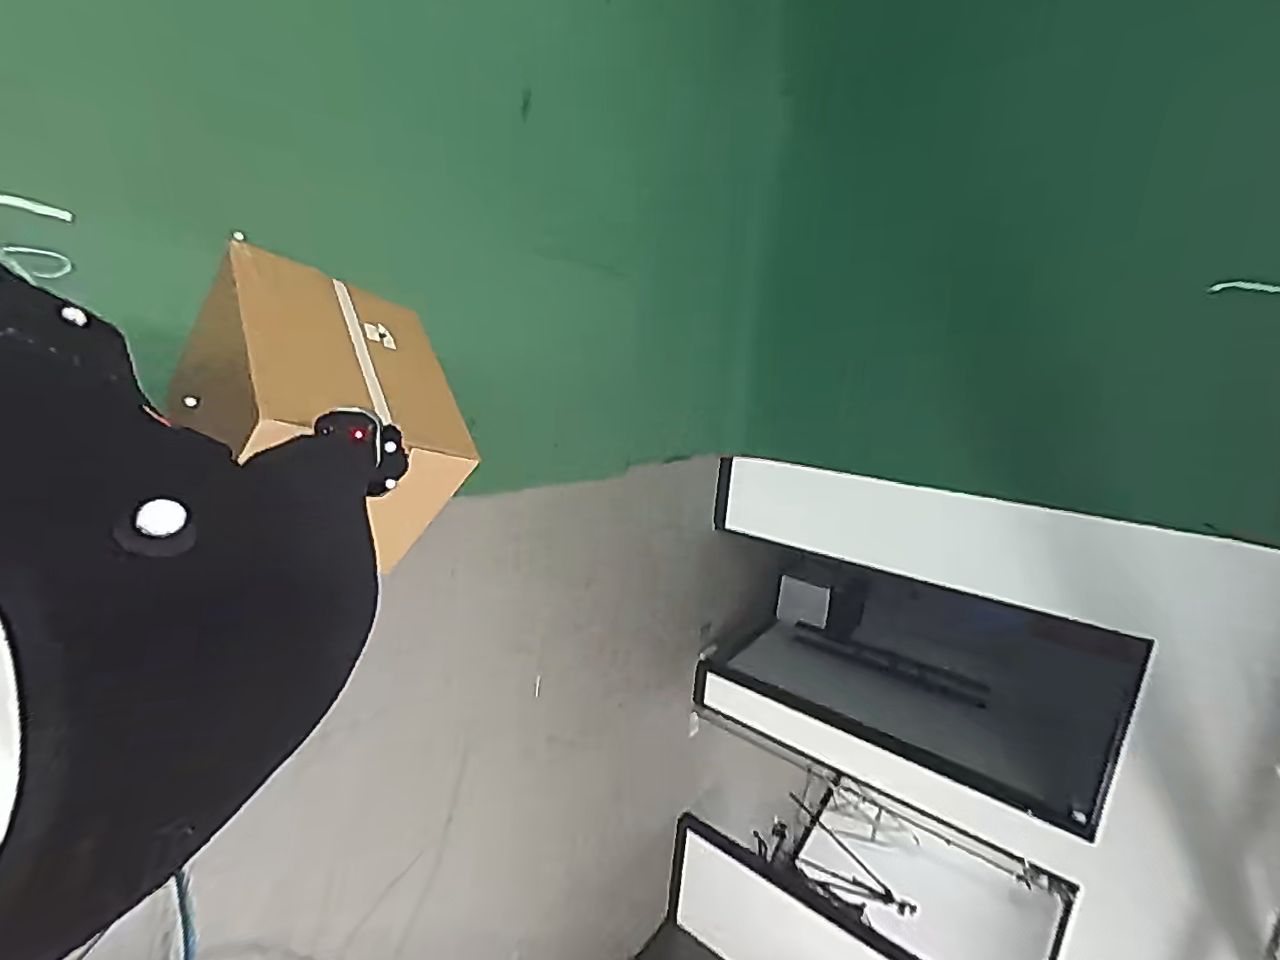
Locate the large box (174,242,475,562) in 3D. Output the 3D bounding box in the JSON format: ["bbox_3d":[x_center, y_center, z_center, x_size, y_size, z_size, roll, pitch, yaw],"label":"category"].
[{"bbox_3d":[-0.548,-0.108,0.922,0.320,0.408,0.320,-46,148,22],"label":"large box"}]
